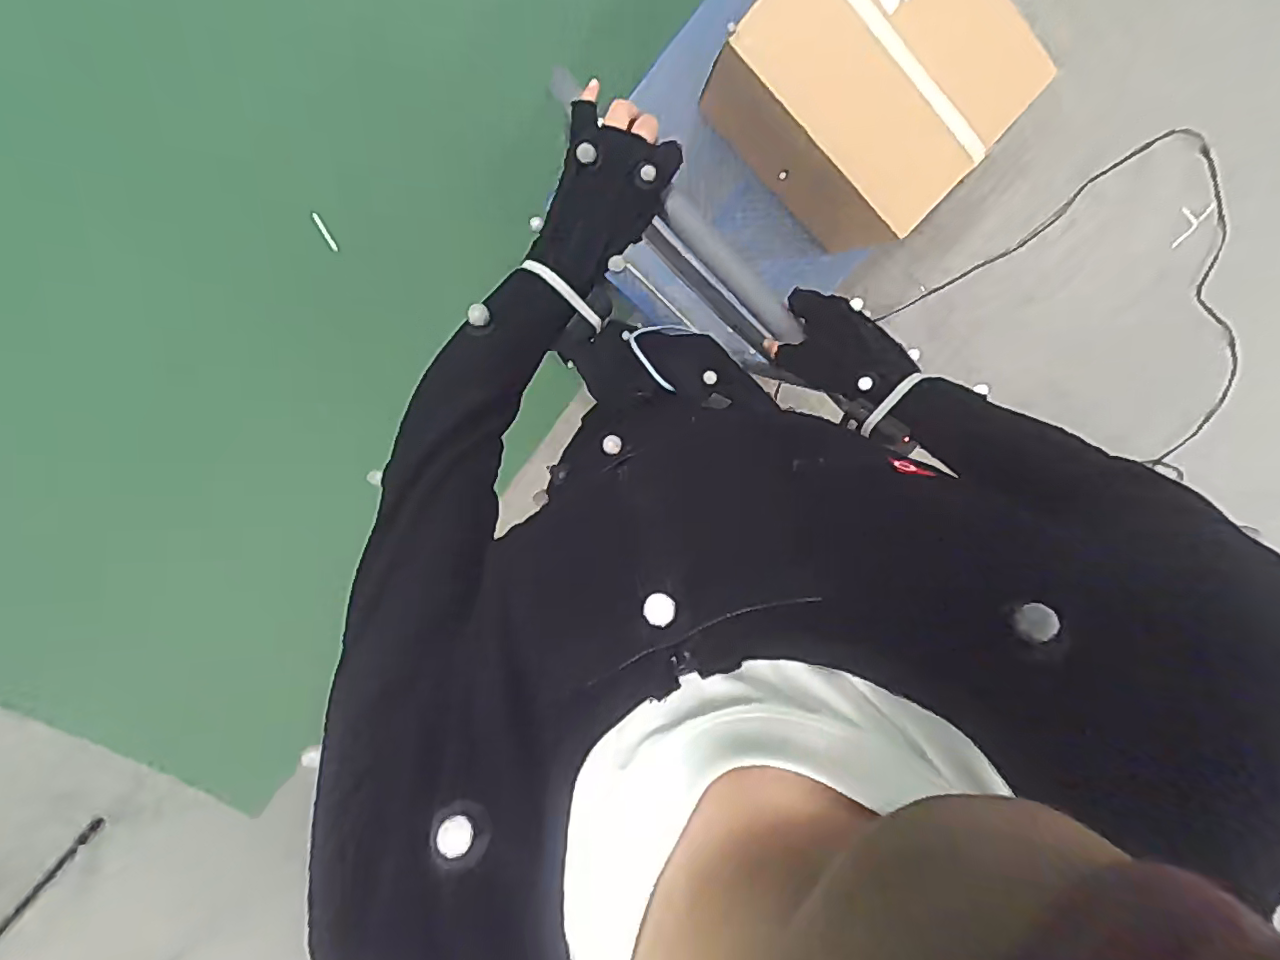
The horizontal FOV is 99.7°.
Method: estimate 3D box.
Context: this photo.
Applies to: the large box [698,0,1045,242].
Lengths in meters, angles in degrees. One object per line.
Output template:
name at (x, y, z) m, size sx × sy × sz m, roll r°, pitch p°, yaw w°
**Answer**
large box at (0.362, -0.684, 0.942) m, size 0.408 × 0.320 × 0.320 m, roll 39°, pitch 103°, yaw -14°
